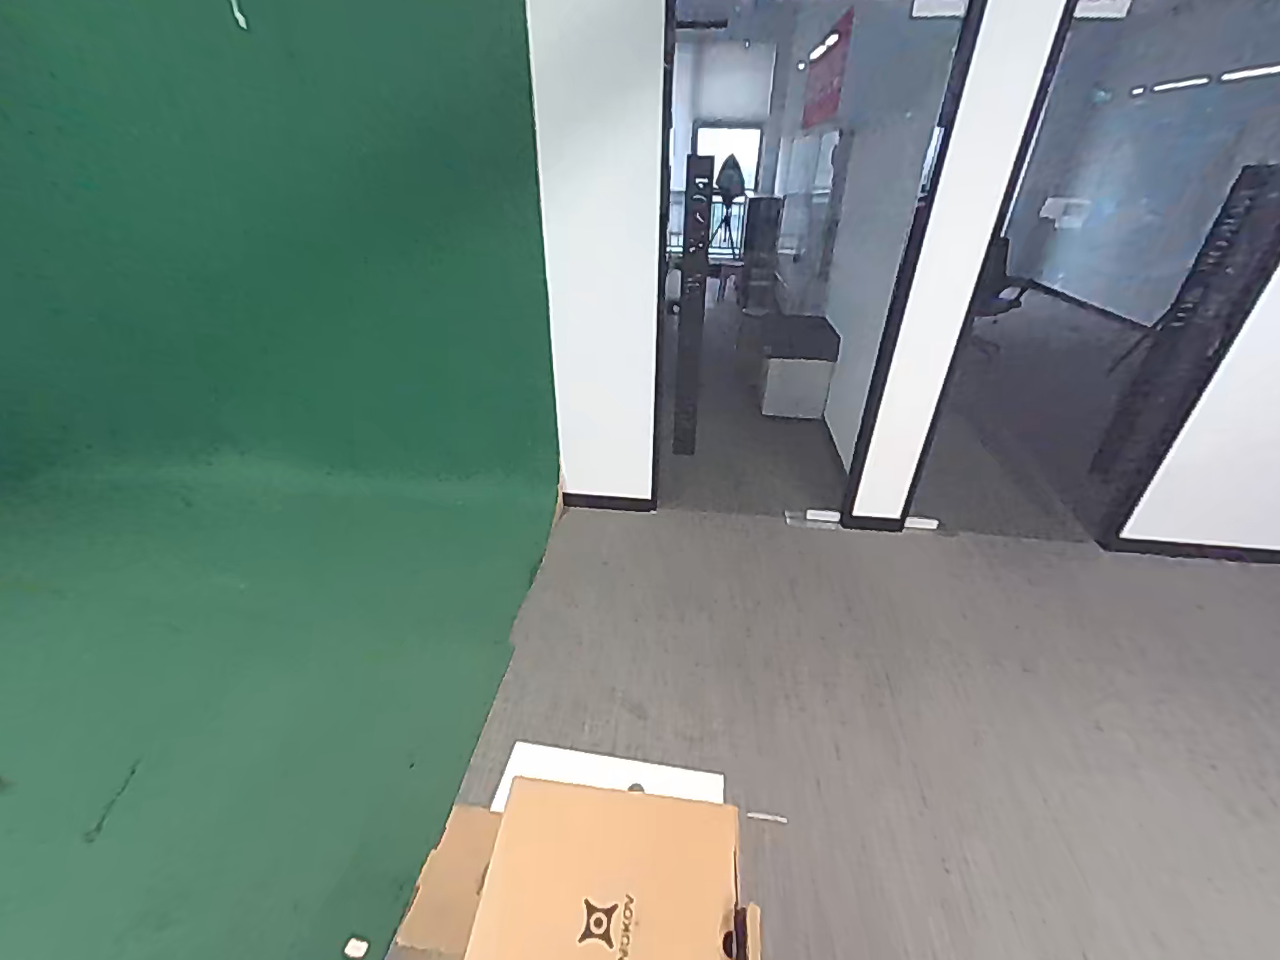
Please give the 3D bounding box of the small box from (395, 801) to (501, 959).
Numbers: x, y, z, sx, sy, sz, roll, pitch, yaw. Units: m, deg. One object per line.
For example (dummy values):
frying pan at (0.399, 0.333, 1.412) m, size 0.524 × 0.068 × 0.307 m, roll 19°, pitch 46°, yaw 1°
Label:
small box at (-0.198, 0.579, 0.740) m, size 0.179 × 0.176 × 0.168 m, roll 6°, pitch 32°, yaw 7°

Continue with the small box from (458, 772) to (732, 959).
small box at (-0.027, 0.351, 0.413) m, size 0.179 × 0.176 × 0.168 m, roll 5°, pitch 42°, yaw 5°
